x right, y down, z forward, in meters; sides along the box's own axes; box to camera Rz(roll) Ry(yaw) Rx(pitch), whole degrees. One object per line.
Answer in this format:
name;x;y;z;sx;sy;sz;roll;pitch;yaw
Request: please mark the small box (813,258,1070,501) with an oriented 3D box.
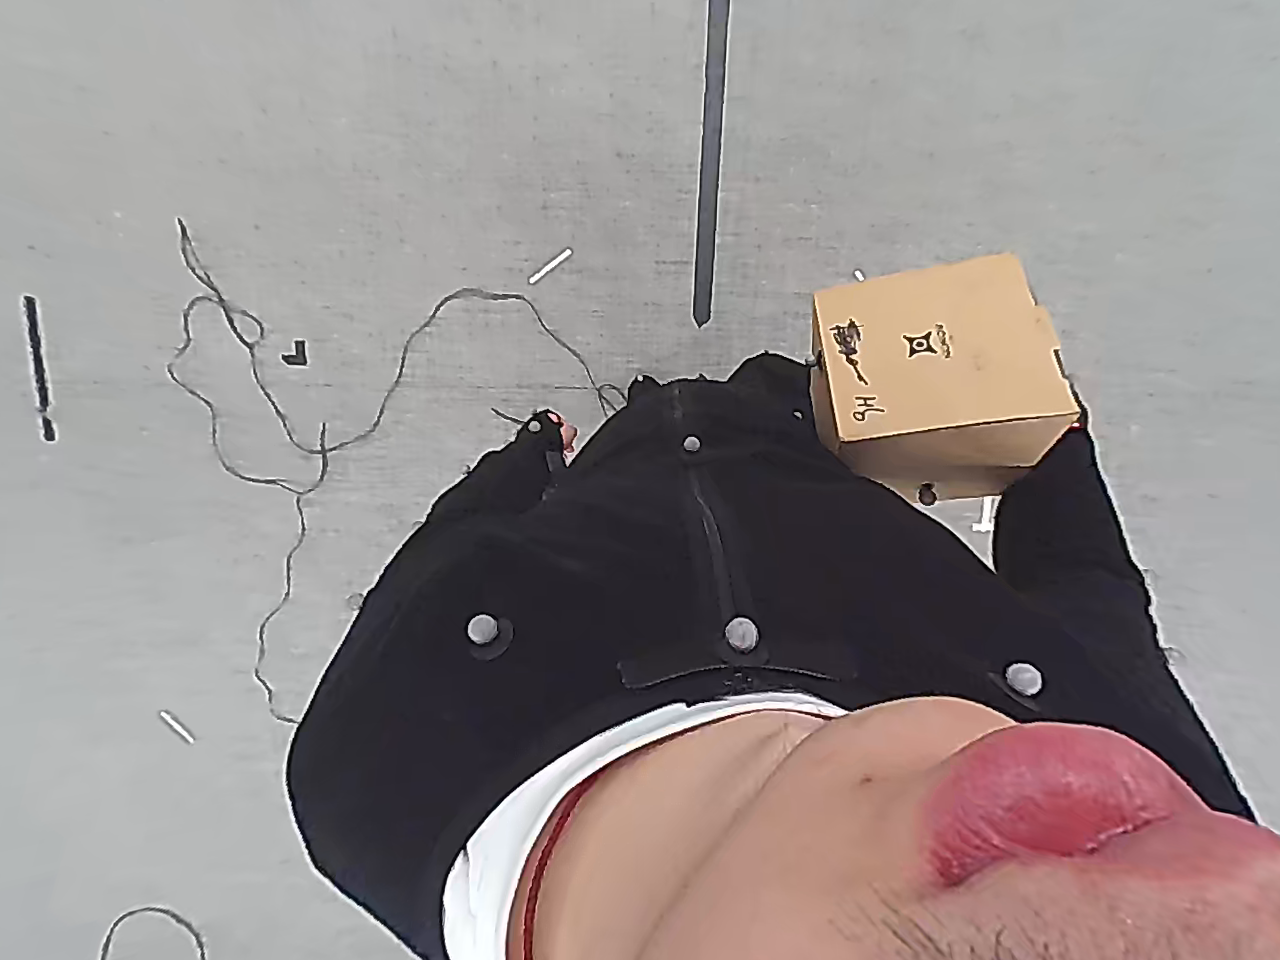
small box;0.276;-0.088;0.546;0.179;0.176;0.168;-6;65;14
